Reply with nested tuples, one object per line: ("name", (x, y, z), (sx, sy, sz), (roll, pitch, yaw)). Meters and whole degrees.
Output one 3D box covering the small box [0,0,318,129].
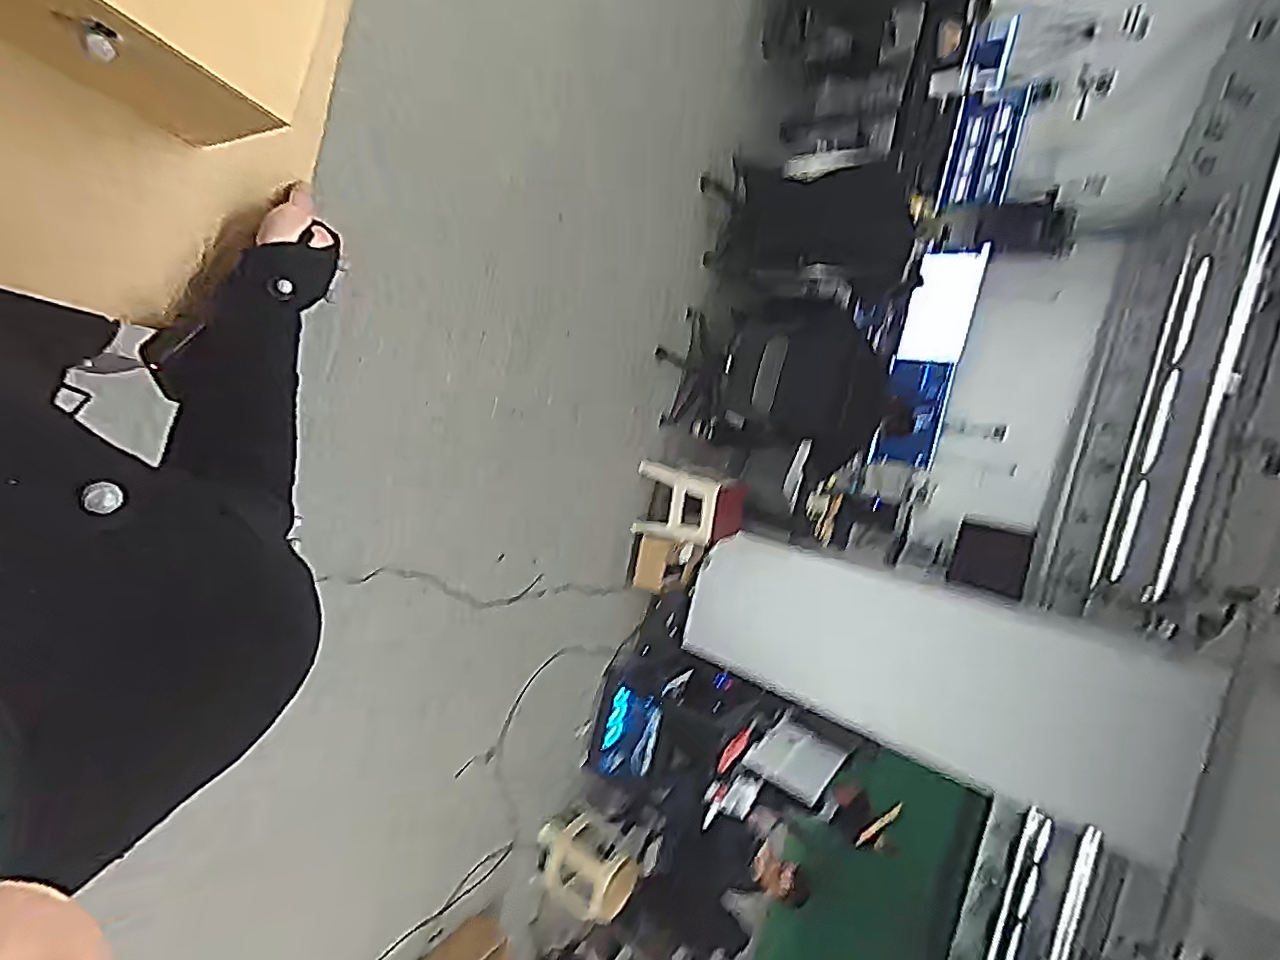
("small box", (-0.355, -0.377, 0.374), (0.179, 0.176, 0.168), (13, 92, -58))
